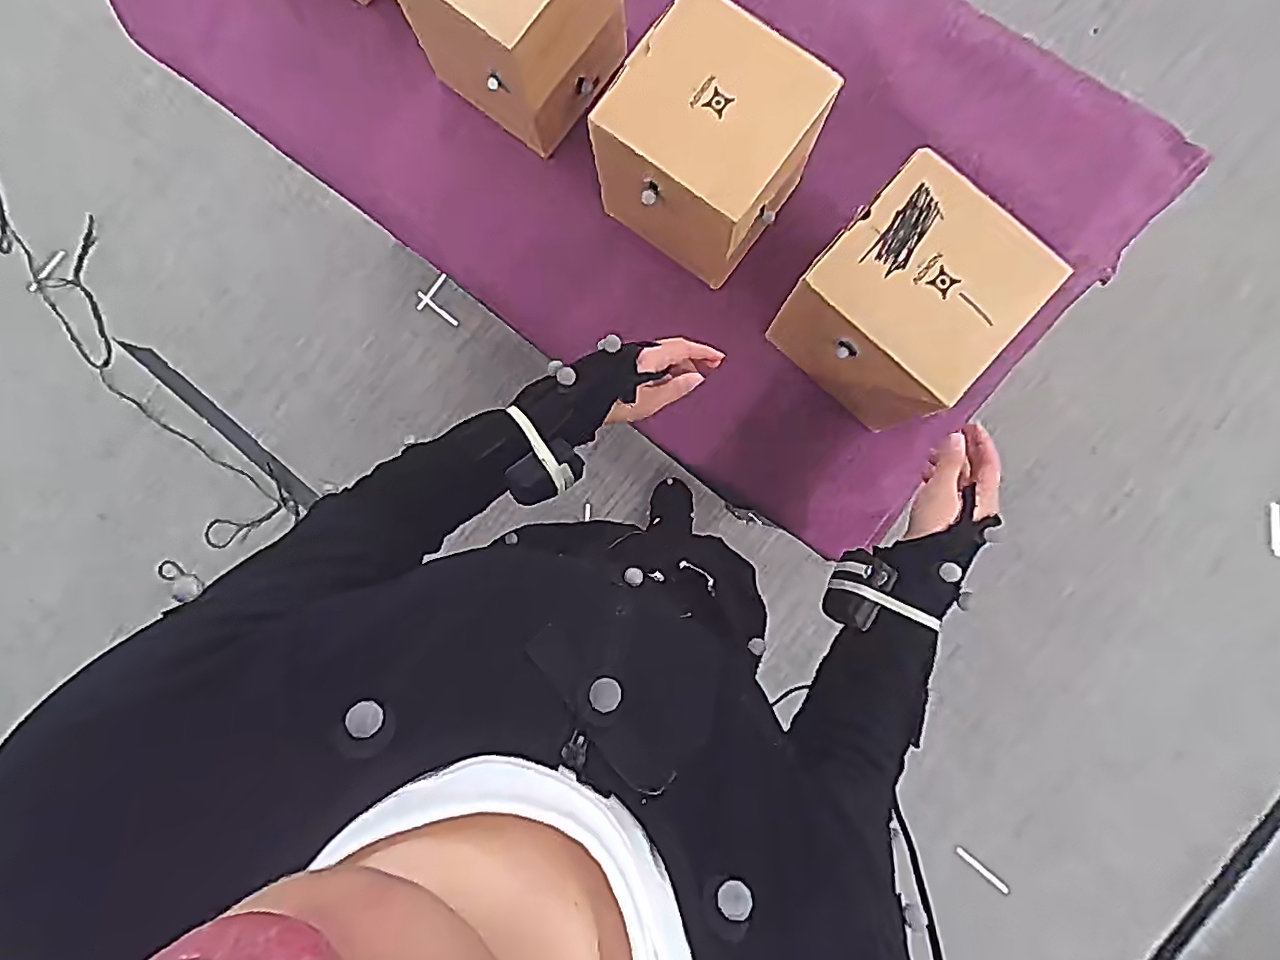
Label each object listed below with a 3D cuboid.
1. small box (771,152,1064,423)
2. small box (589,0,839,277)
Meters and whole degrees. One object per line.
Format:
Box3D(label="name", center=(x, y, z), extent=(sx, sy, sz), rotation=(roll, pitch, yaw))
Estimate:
Box3D(label="small box", center=(0.263, -0.178, 0.563), extent=(0.179, 0.176, 0.168), rotation=(43, 89, 2))
Box3D(label="small box", center=(0.072, -0.347, 0.581), extent=(0.179, 0.176, 0.168), rotation=(37, 90, 3))
